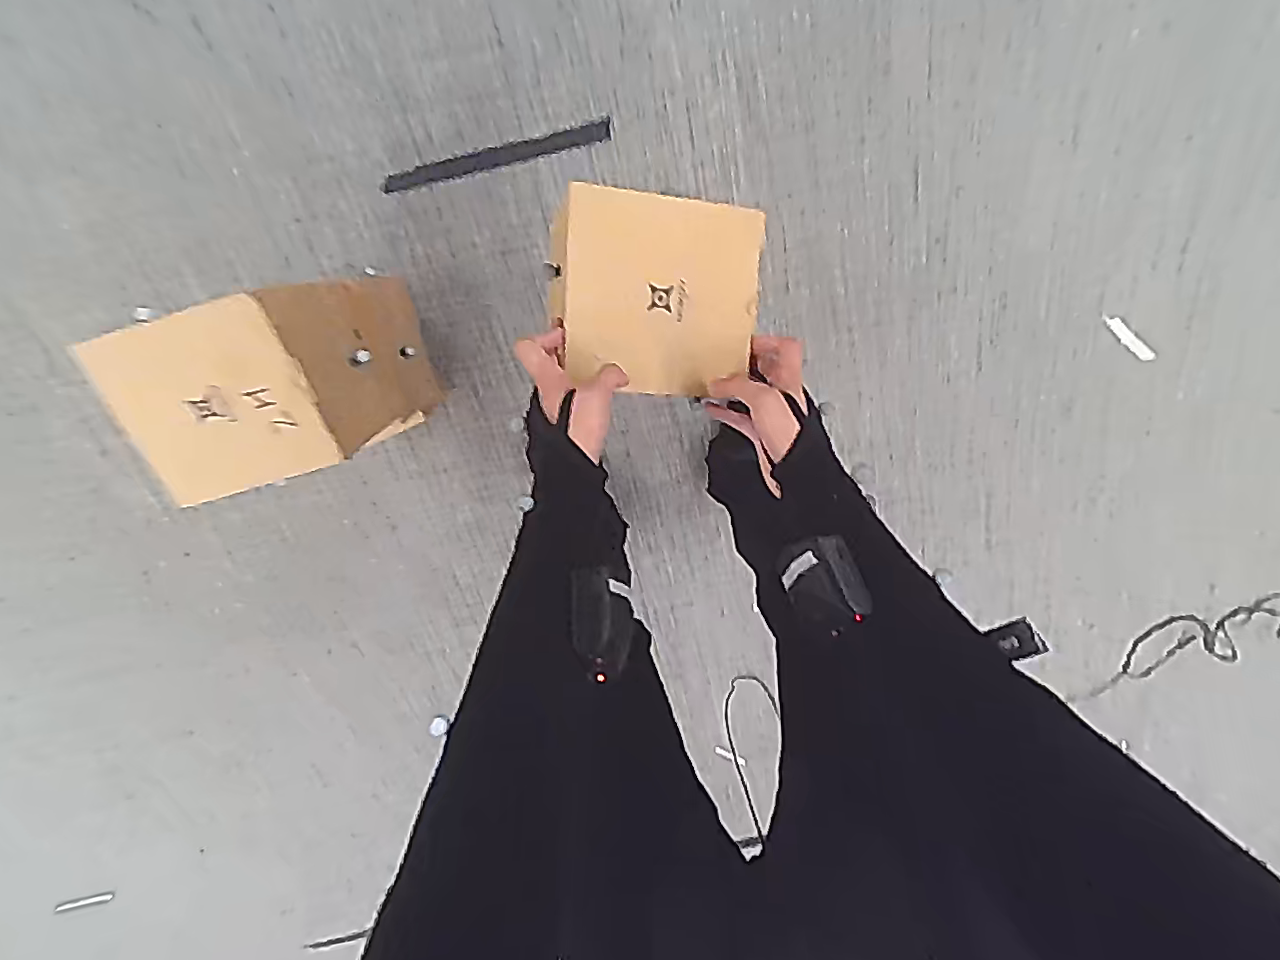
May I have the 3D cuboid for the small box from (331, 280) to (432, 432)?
[{"bbox_3d":[-0.396,-0.164,0.714,0.168,0.176,0.179,-9,114,-1],"label":"small box"}]

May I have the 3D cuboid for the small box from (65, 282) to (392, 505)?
[{"bbox_3d":[-0.396,-0.099,0.563,0.179,0.176,0.168,-16,113,1],"label":"small box"}]

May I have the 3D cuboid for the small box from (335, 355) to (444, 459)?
[{"bbox_3d":[-0.451,-0.165,0.886,0.168,0.176,0.179,-23,114,4],"label":"small box"}]

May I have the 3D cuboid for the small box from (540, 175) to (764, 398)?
[{"bbox_3d":[-0.003,-0.172,0.528,0.179,0.176,0.168,0,103,-16],"label":"small box"}]
